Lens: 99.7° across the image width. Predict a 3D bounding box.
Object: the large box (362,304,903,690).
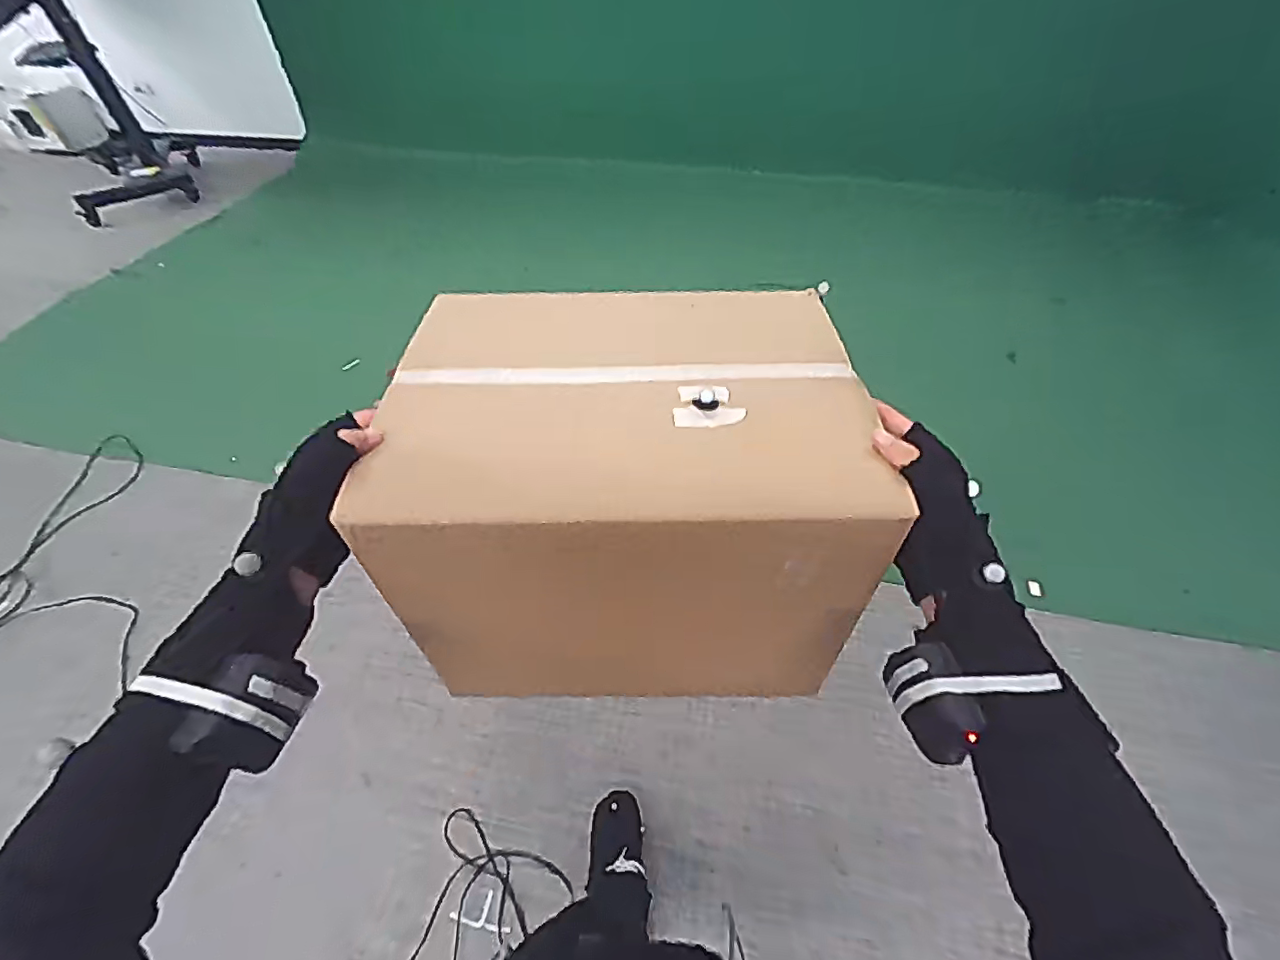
[{"bbox_3d":[-0.009,0.019,0.599,0.408,0.320,0.320,0,47,-1],"label":"large box"}]
